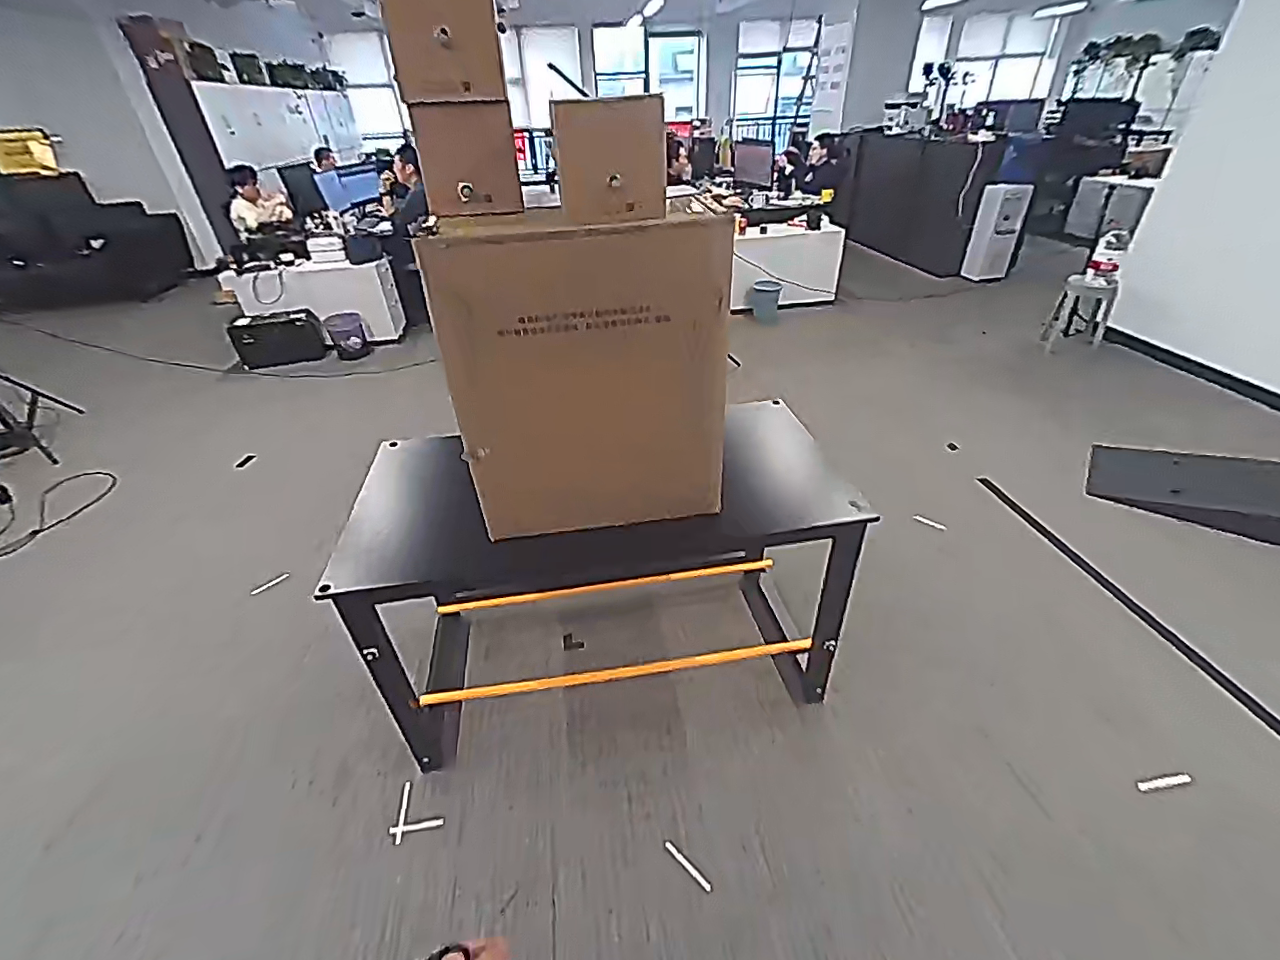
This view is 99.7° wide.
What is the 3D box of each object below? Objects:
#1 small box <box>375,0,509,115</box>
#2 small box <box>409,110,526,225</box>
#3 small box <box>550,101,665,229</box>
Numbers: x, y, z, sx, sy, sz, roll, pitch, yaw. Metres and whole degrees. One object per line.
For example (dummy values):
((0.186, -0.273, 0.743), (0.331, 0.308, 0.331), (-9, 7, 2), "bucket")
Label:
((-0.312, -0.698, 0.885), (0.168, 0.176, 0.179), (-8, 35, -8), "small box")
((-0.305, -0.572, 0.990), (0.168, 0.176, 0.179), (-10, 36, -9), "small box")
((-0.056, -0.527, 0.906), (0.168, 0.176, 0.179), (-9, 36, -6), "small box")
